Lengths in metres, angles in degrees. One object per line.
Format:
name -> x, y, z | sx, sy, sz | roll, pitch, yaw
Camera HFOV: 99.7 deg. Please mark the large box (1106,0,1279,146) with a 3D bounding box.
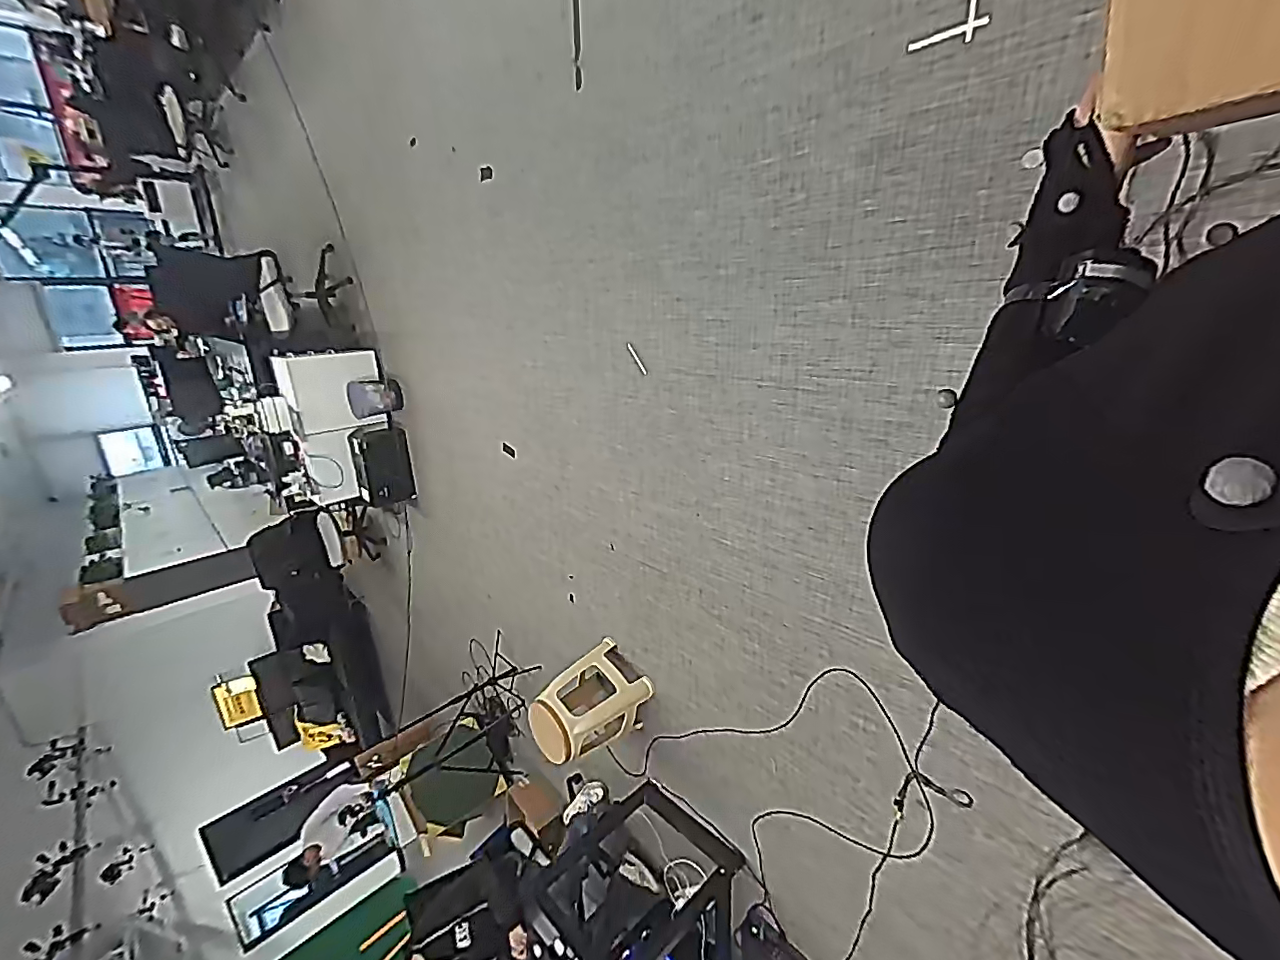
large box -> 0.425, -0.333, 0.159 | 0.408, 0.320, 0.320 | 9, 120, 43
